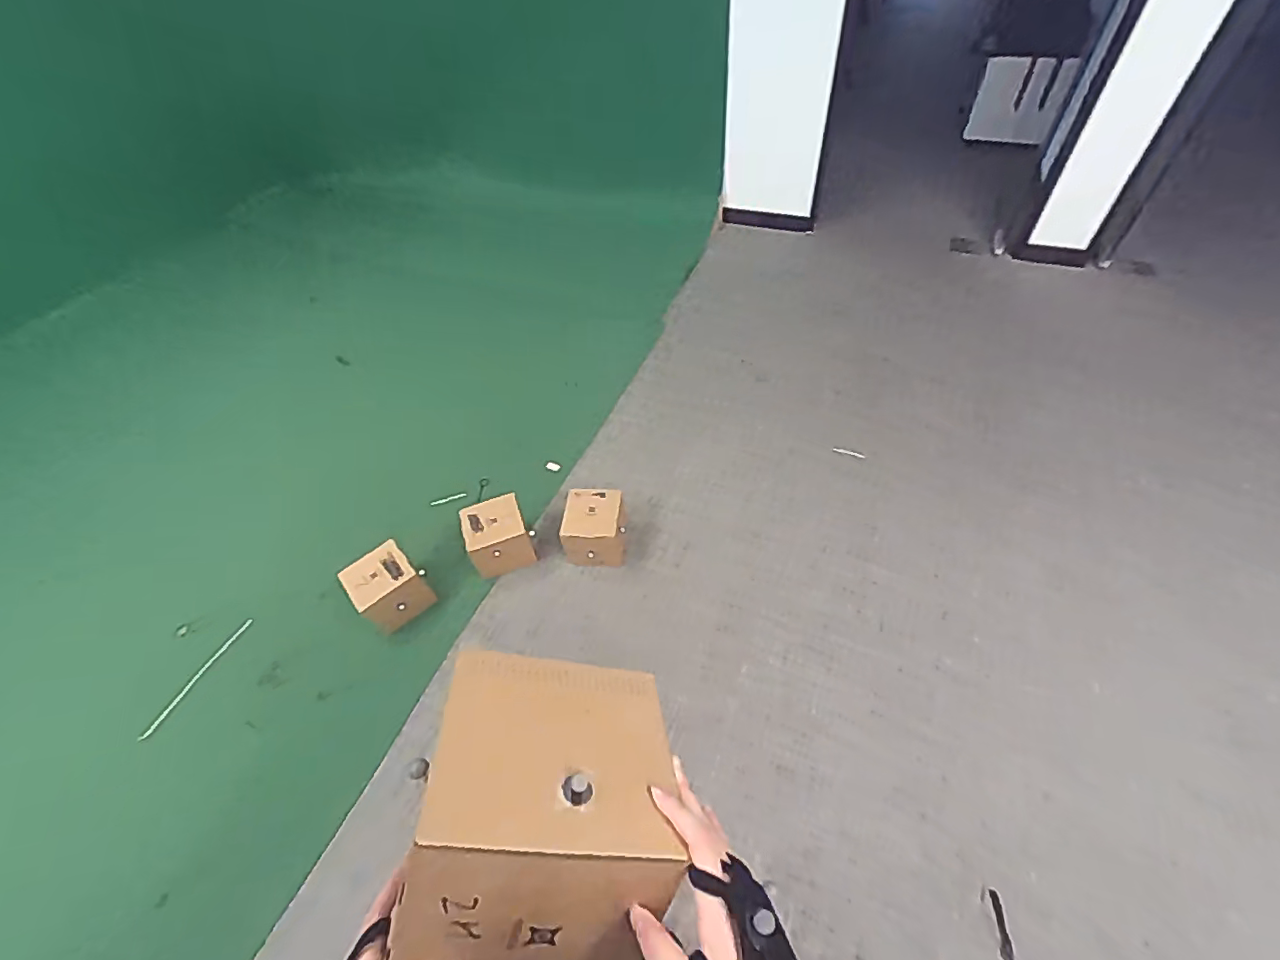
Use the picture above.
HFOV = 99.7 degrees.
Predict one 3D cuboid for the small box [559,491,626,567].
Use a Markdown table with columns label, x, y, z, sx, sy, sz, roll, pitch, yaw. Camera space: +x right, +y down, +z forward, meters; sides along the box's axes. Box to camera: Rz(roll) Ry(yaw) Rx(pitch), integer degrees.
| label | x | y | z | sx | sy | sz | roll | pitch | yaw |
| --- | --- | --- | --- | --- | --- | --- | --- | --- | --- |
| small box | -0.139 | 0.153 | 1.667 | 0.168 | 0.176 | 0.179 | 2 | 52 | 7 |

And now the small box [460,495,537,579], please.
| label | x | y | z | sx | sy | sz | roll | pitch | yaw |
| --- | --- | --- | --- | --- | --- | --- | --- | --- | --- |
| small box | -0.437 | 0.182 | 1.675 | 0.179 | 0.176 | 0.168 | -19 | 52 | -10 |
